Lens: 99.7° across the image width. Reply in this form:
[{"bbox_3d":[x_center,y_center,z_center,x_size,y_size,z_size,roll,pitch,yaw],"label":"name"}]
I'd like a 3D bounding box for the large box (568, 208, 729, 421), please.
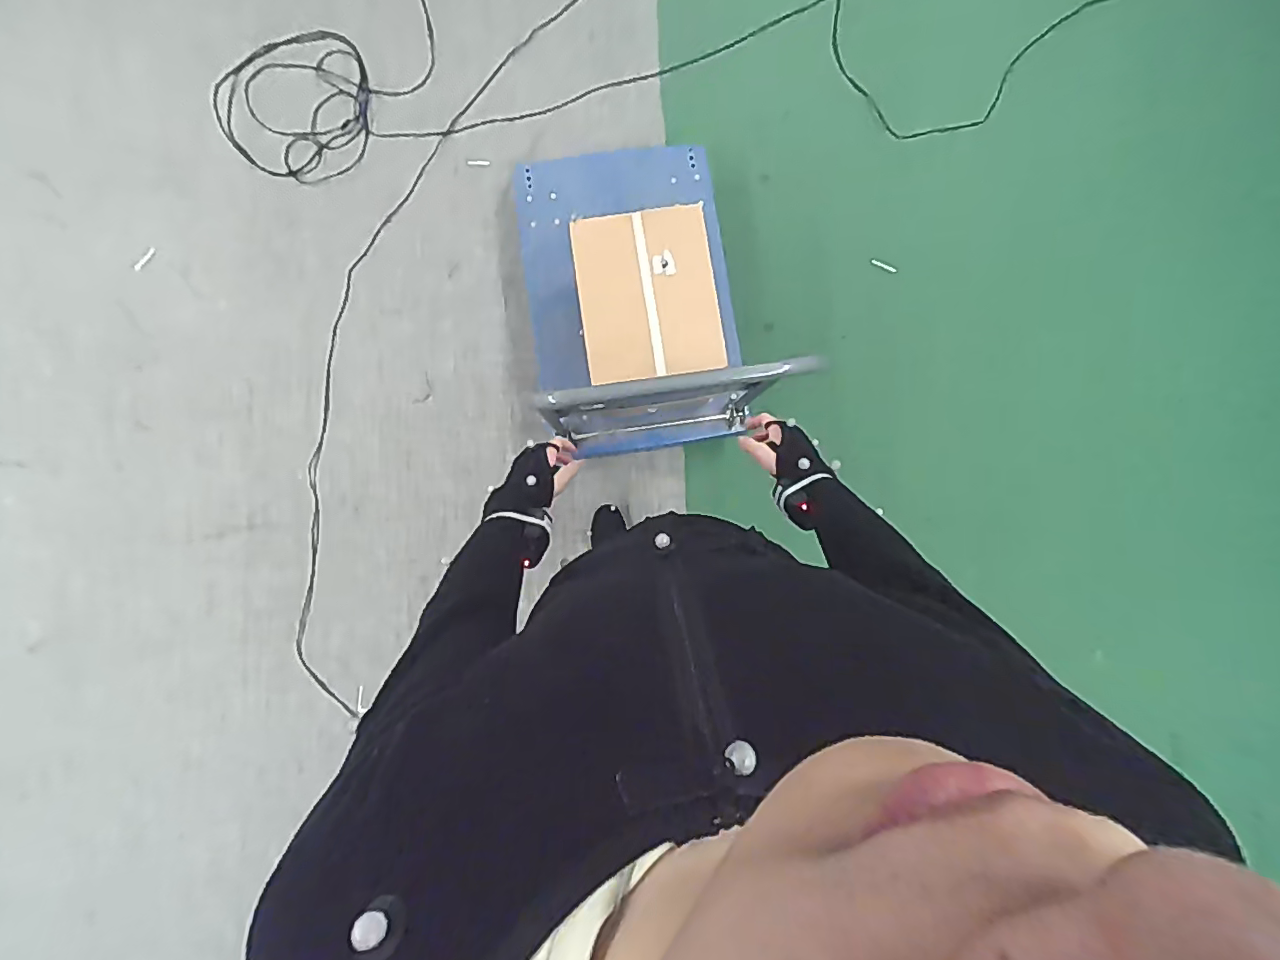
[{"bbox_3d":[0.016,-0.396,1.376,0.320,0.320,0.408,-9,84,-3],"label":"large box"}]
